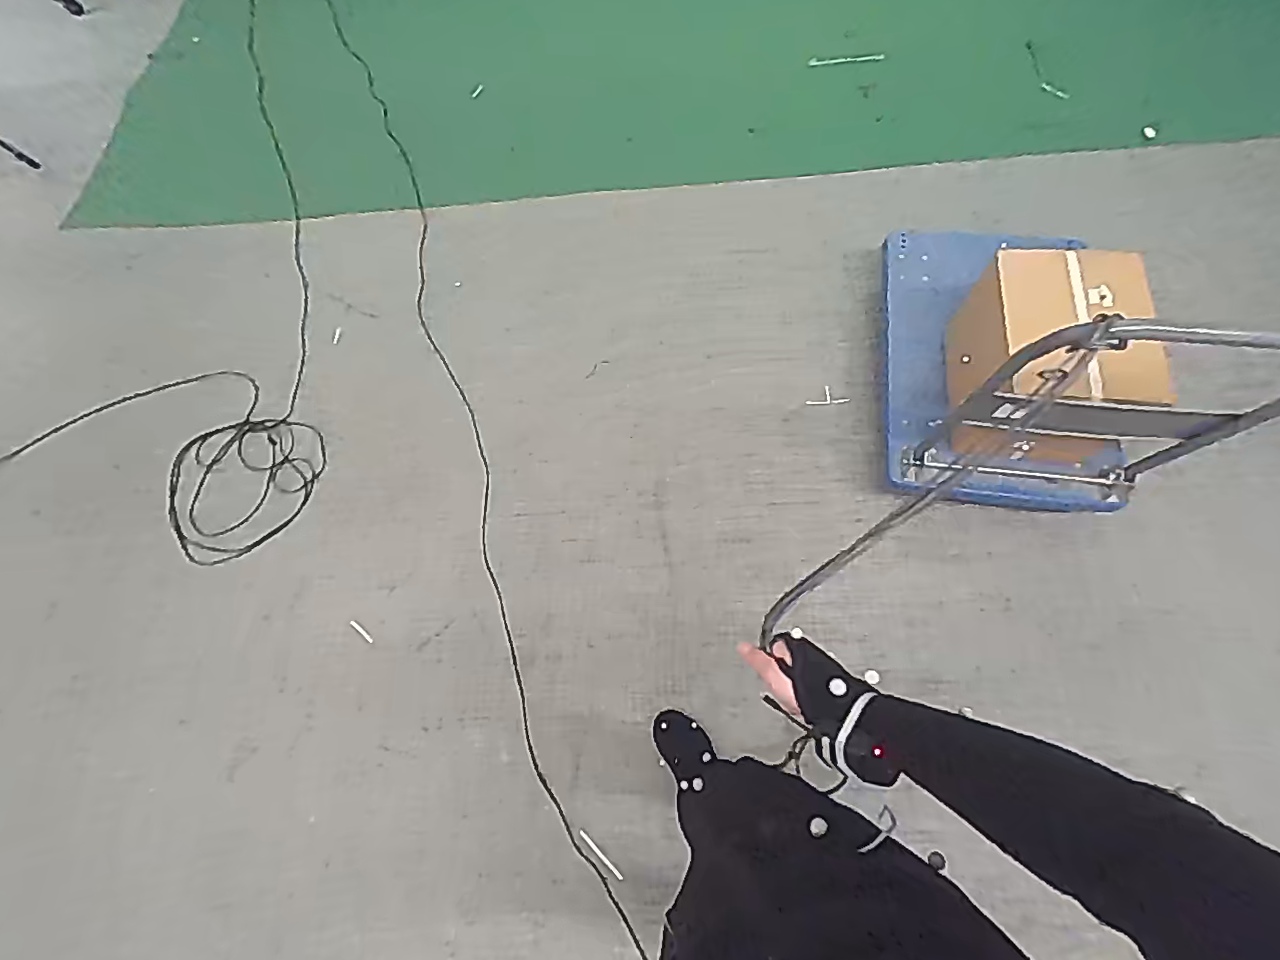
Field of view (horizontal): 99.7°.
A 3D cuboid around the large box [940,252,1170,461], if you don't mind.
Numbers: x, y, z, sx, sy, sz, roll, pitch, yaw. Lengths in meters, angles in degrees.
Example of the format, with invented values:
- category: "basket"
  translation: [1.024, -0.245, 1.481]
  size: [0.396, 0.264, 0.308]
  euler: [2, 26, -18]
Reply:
- category: "large box"
  translation: [0.976, -0.292, 1.337]
  size: [0.320, 0.320, 0.408]
  euler: [5, 68, 7]
